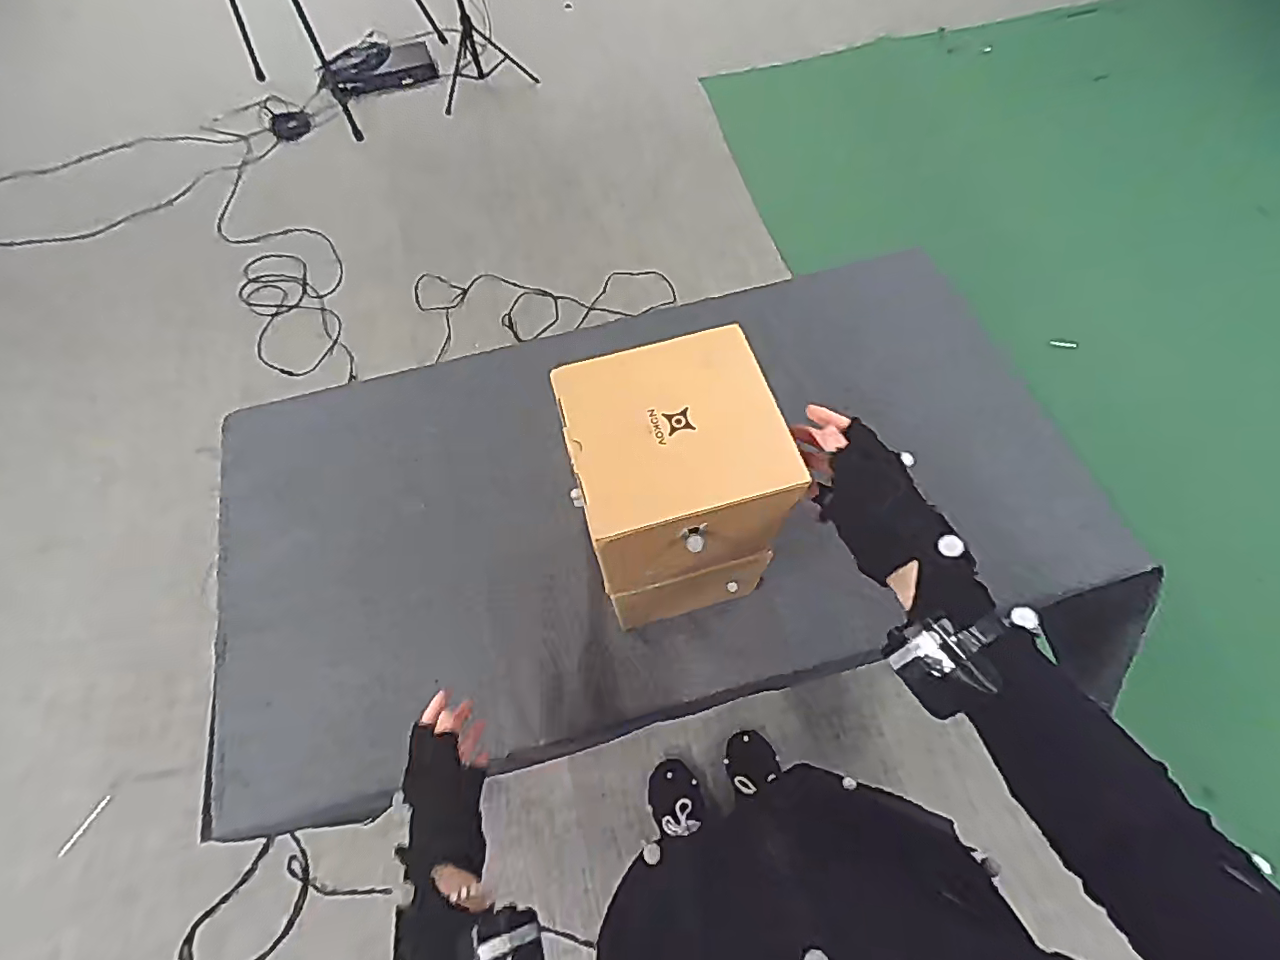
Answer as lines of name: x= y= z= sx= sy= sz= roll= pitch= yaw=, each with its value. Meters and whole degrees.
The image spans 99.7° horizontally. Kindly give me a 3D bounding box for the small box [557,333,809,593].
small box: x=0.032 y=-0.007 z=0.518 sx=0.179 sy=0.176 sz=0.168 roll=-15 pitch=64 yaw=-4
